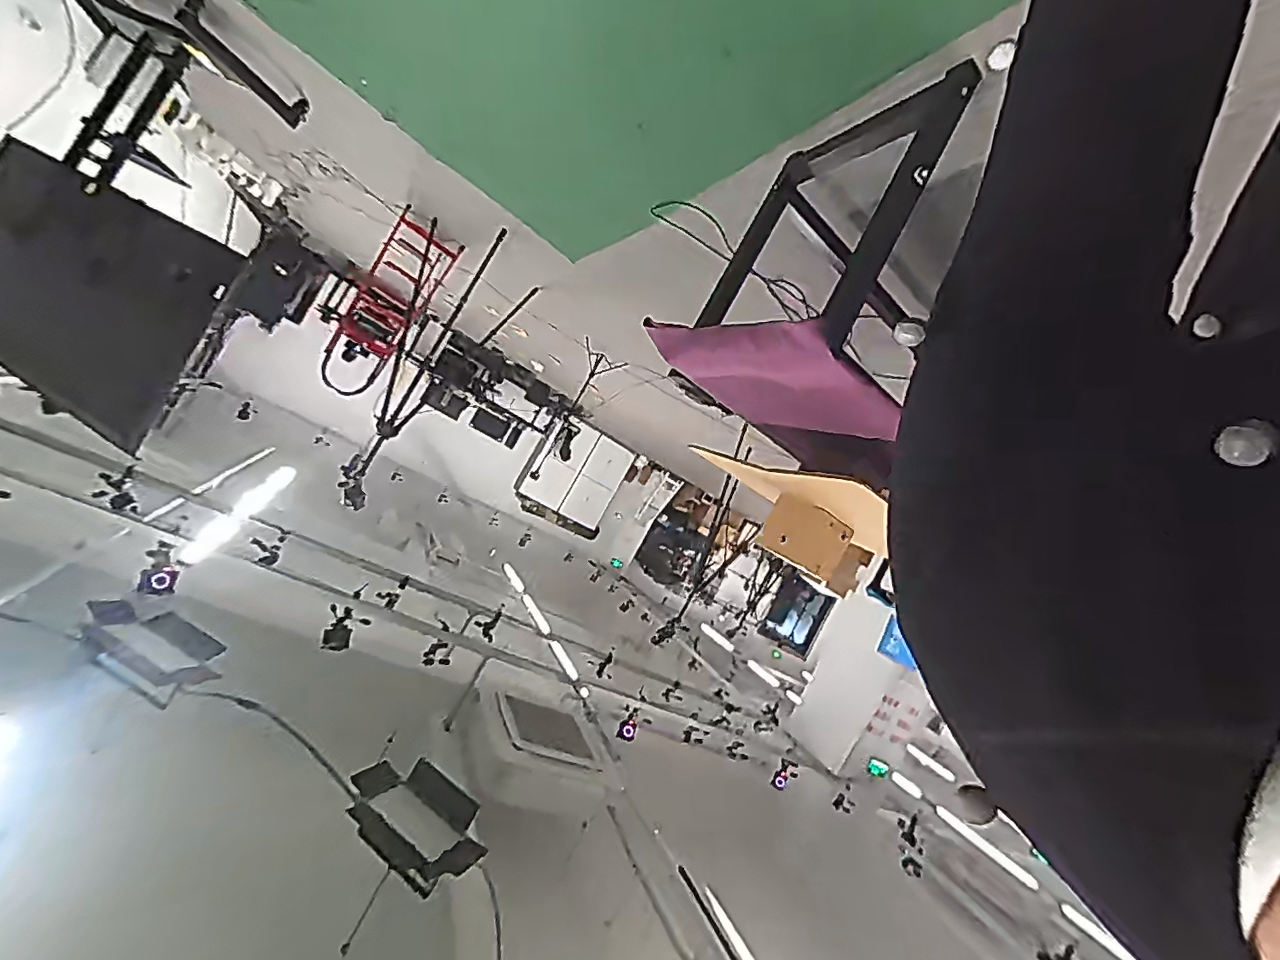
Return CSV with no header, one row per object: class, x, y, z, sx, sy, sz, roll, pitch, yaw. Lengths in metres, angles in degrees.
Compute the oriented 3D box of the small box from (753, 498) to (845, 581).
small box,0.470,0.167,1.579,0.168,0.176,0.179,30,176,-27
